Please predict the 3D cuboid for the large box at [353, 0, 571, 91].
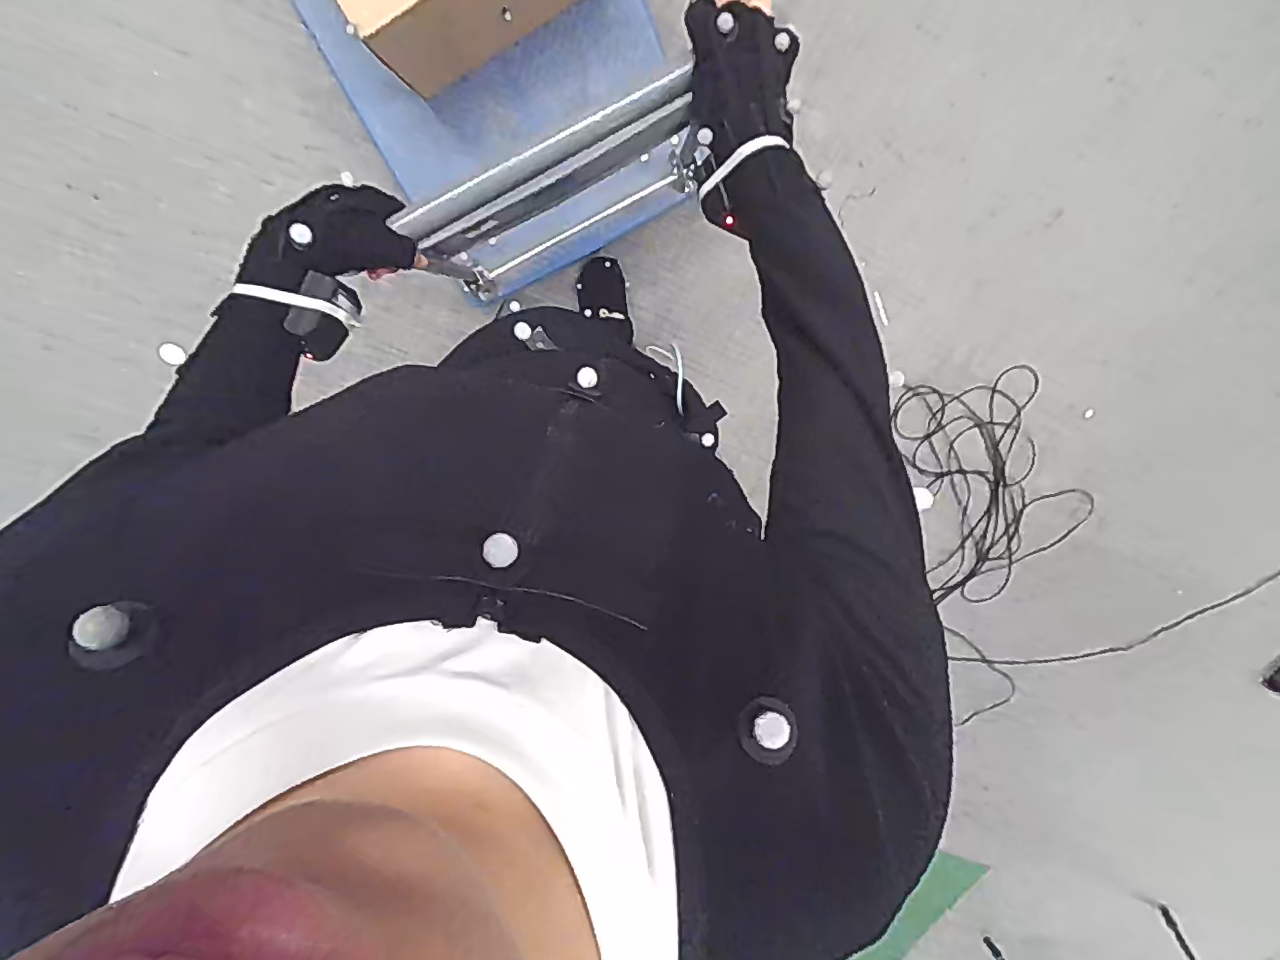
[{"bbox_3d":[-0.280,-0.890,0.811,0.408,0.320,0.320,-28,111,8],"label":"large box"}]
